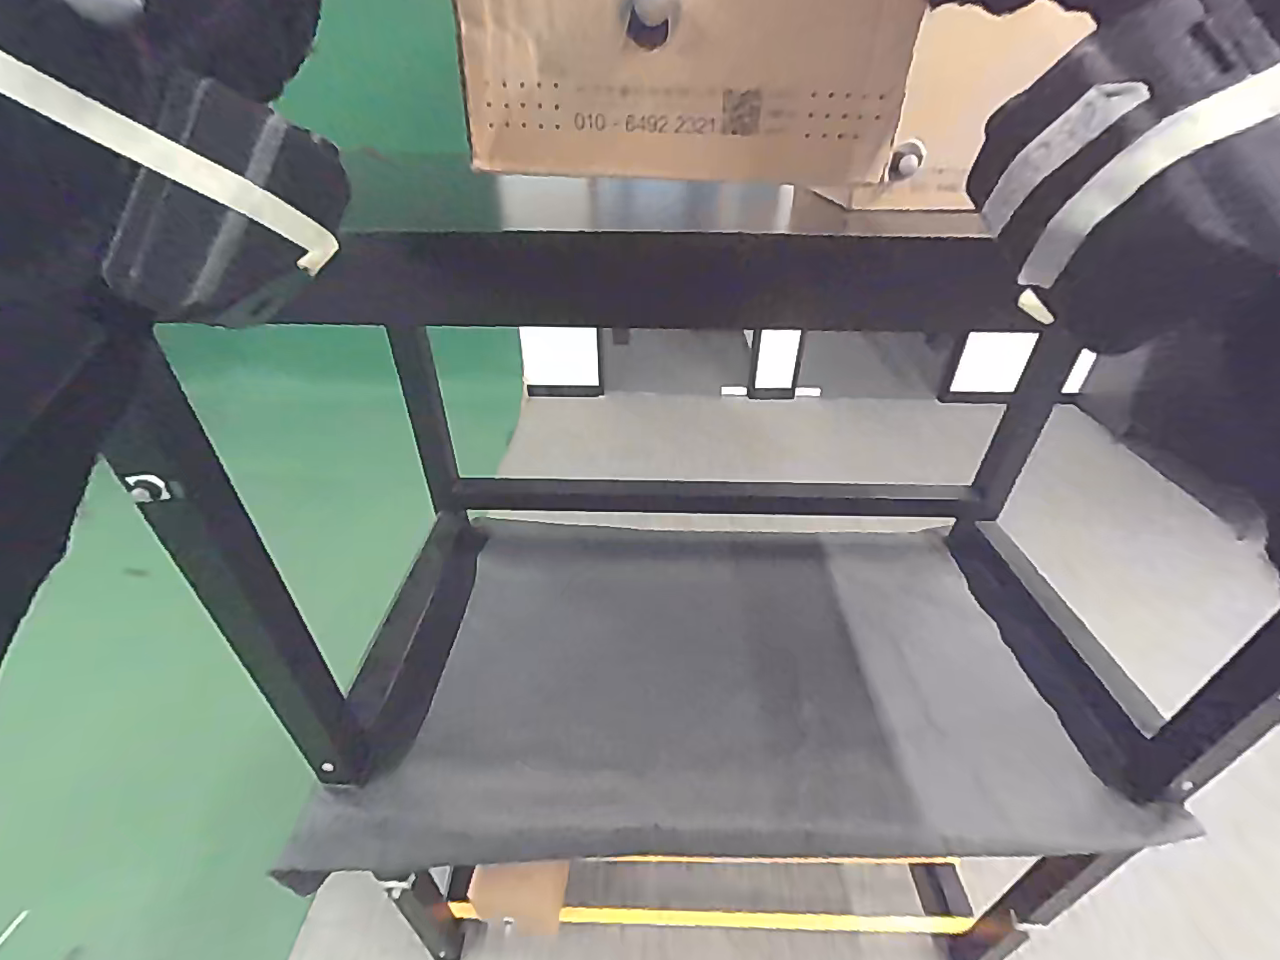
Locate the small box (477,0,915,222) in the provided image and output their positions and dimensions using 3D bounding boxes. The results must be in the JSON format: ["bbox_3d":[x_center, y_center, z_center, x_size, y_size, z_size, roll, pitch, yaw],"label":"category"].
[{"bbox_3d":[0.018,-0.231,0.256,0.168,0.176,0.179,1,35,-2],"label":"small box"}]
